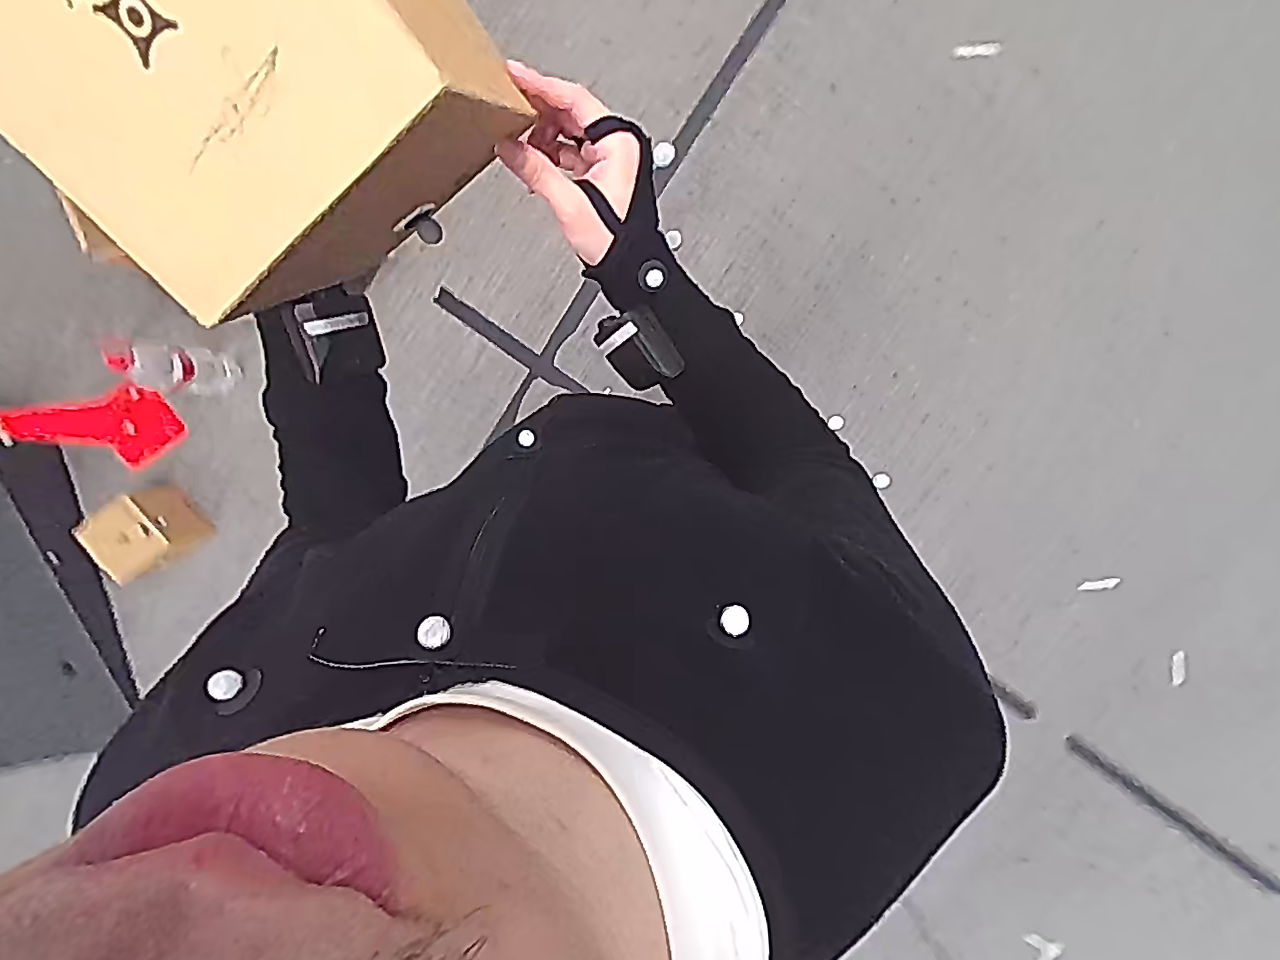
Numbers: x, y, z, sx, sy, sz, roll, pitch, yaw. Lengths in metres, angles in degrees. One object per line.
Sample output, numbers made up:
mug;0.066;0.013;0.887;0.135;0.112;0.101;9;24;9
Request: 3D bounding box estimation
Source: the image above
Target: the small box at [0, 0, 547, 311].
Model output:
small box;-0.174;-0.220;0.277;0.168;0.176;0.179;-29;115;19
